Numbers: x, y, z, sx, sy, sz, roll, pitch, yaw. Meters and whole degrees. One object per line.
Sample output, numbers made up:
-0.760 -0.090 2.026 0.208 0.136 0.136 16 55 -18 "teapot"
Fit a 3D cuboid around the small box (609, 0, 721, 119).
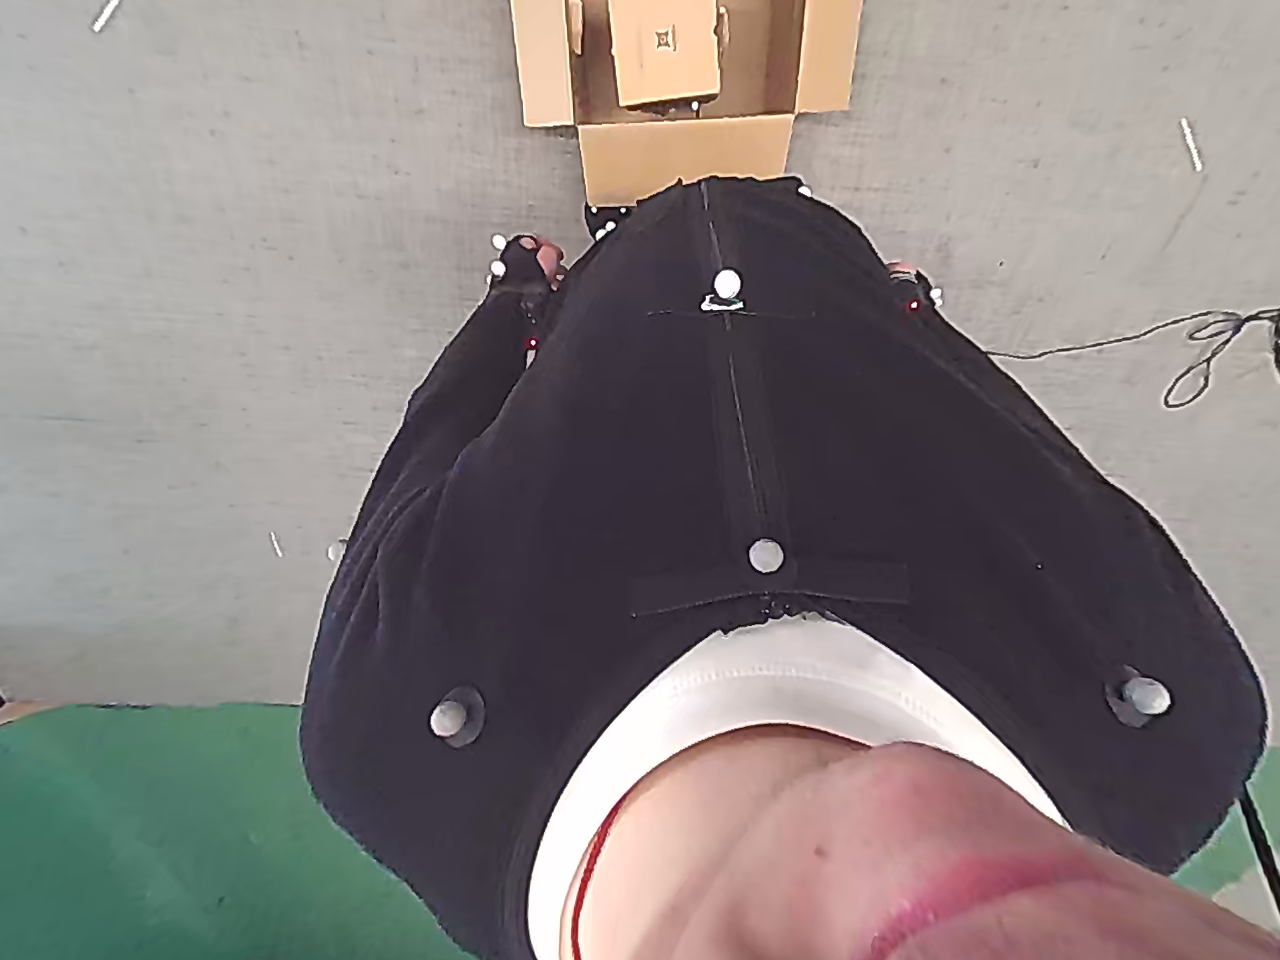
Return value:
0.050 -0.752 0.958 0.179 0.176 0.168 -2 119 8 "small box"
